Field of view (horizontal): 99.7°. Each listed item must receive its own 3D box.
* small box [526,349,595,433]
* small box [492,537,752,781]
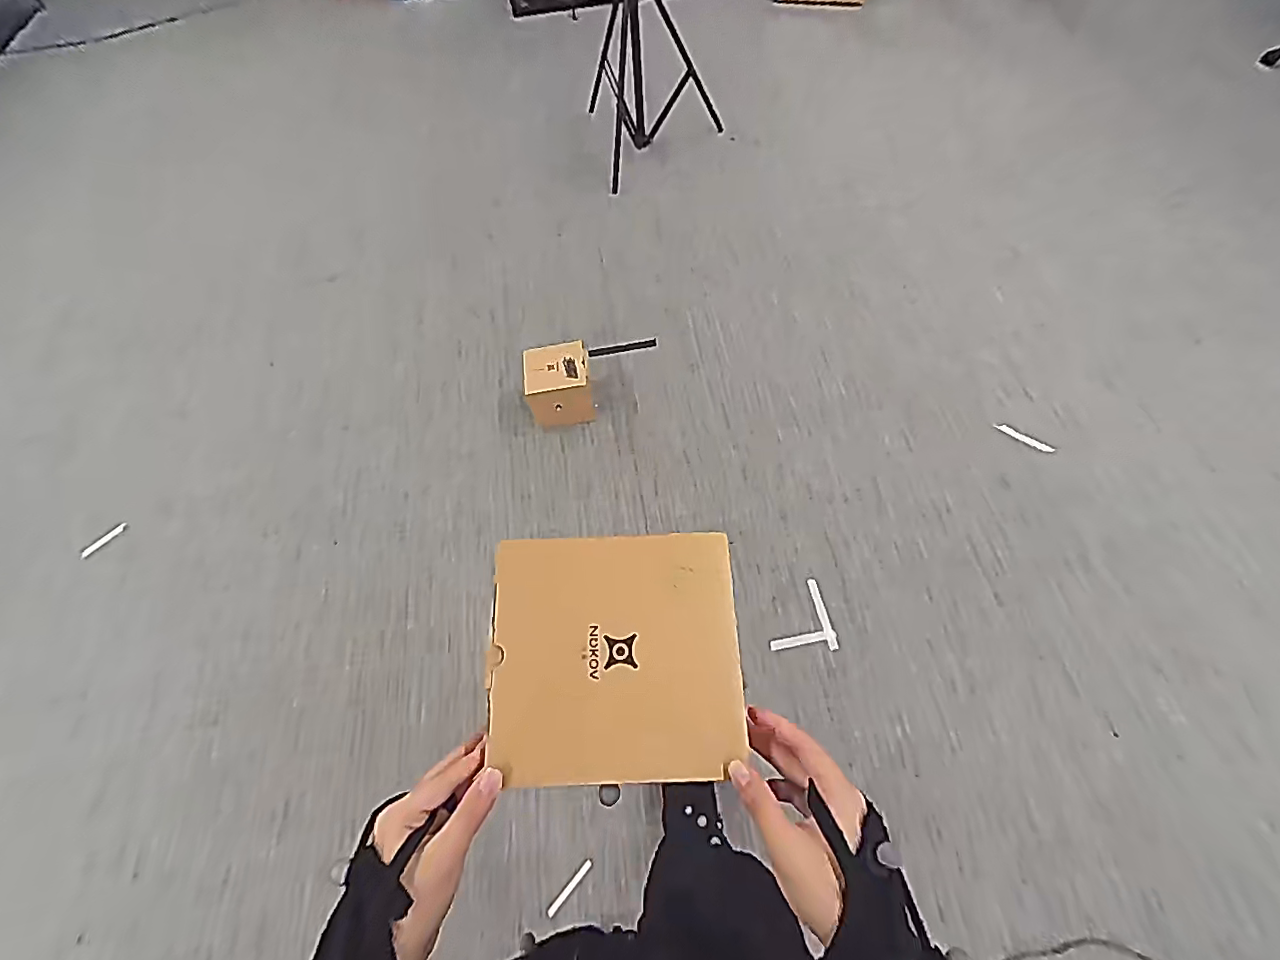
[{"bbox_3d":[-0.231,-0.260,1.602,0.179,0.176,0.168,-9,61,1],"label":"small box"},{"bbox_3d":[-0.011,0.150,0.460,0.179,0.176,0.168,-3,68,2],"label":"small box"}]
